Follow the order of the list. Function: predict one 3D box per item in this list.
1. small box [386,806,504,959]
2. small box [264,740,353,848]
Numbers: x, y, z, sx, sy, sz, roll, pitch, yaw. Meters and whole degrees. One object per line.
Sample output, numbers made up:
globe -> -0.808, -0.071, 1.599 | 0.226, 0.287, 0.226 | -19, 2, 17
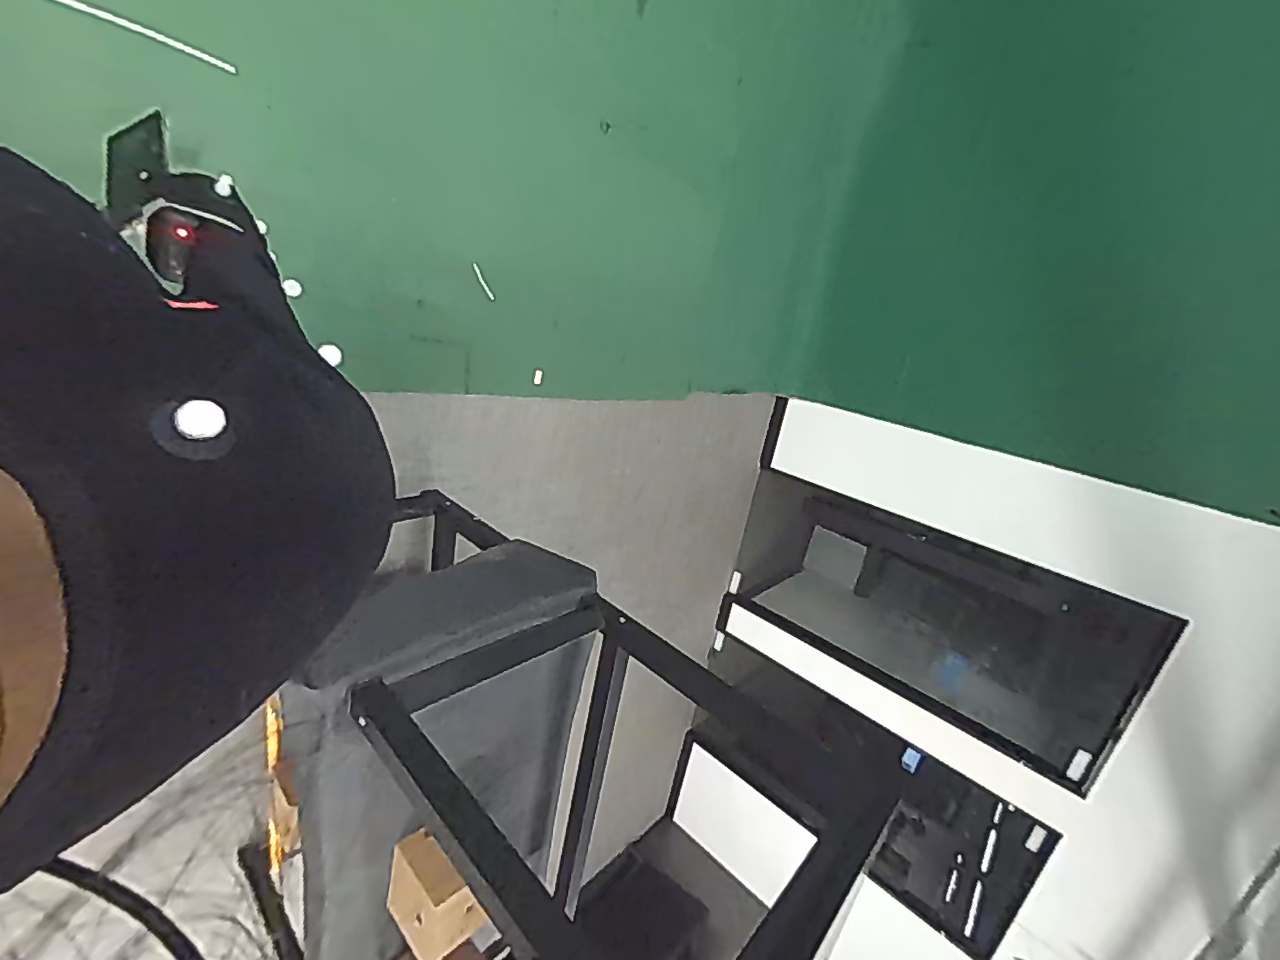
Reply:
small box -> -0.415, 0.833, 1.142 | 0.168, 0.176, 0.179 | -6, 115, -50
small box -> -0.959, 0.895, 1.558 | 0.179, 0.176, 0.168 | -5, 114, -50
